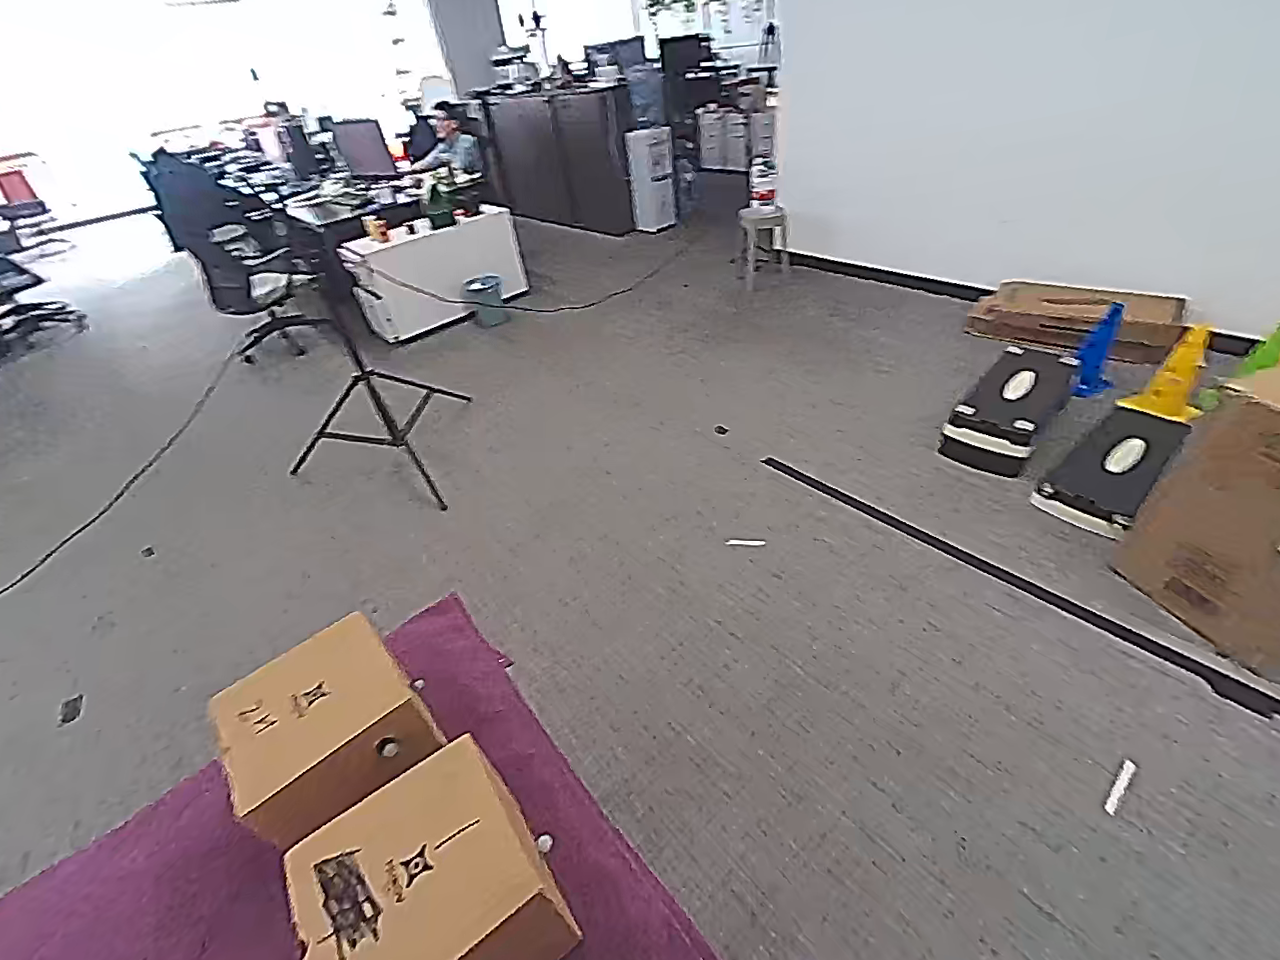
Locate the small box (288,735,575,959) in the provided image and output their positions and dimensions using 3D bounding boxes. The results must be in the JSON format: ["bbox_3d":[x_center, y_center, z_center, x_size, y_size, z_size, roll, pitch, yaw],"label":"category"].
[{"bbox_3d":[-0.183,0.390,0.501,0.179,0.176,0.168,-29,42,-23],"label":"small box"}]

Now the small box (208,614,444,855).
[{"bbox_3d":[-0.354,0.303,0.639,0.179,0.176,0.168,-33,46,-28],"label":"small box"}]
